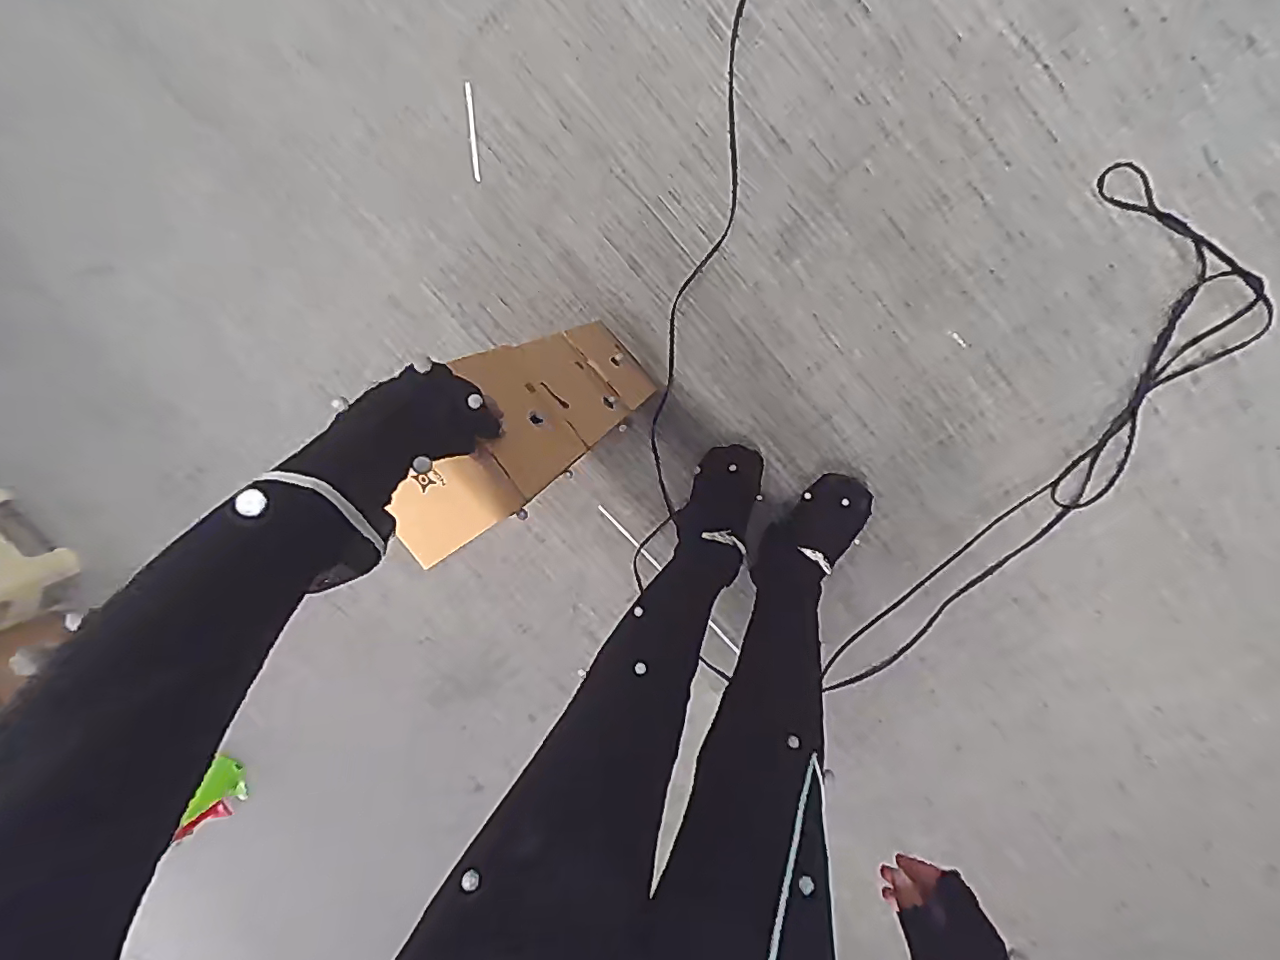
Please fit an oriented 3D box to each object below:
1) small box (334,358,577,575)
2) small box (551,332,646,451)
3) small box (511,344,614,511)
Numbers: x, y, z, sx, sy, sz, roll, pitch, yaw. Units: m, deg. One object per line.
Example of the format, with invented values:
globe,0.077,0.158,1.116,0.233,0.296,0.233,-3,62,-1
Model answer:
small box,-0.206,-0.023,0.644,0.179,0.176,0.168,-32,100,25
small box,-0.107,-0.137,0.937,0.179,0.176,0.168,-41,93,25
small box,-0.158,-0.076,0.790,0.179,0.176,0.168,-37,98,27
